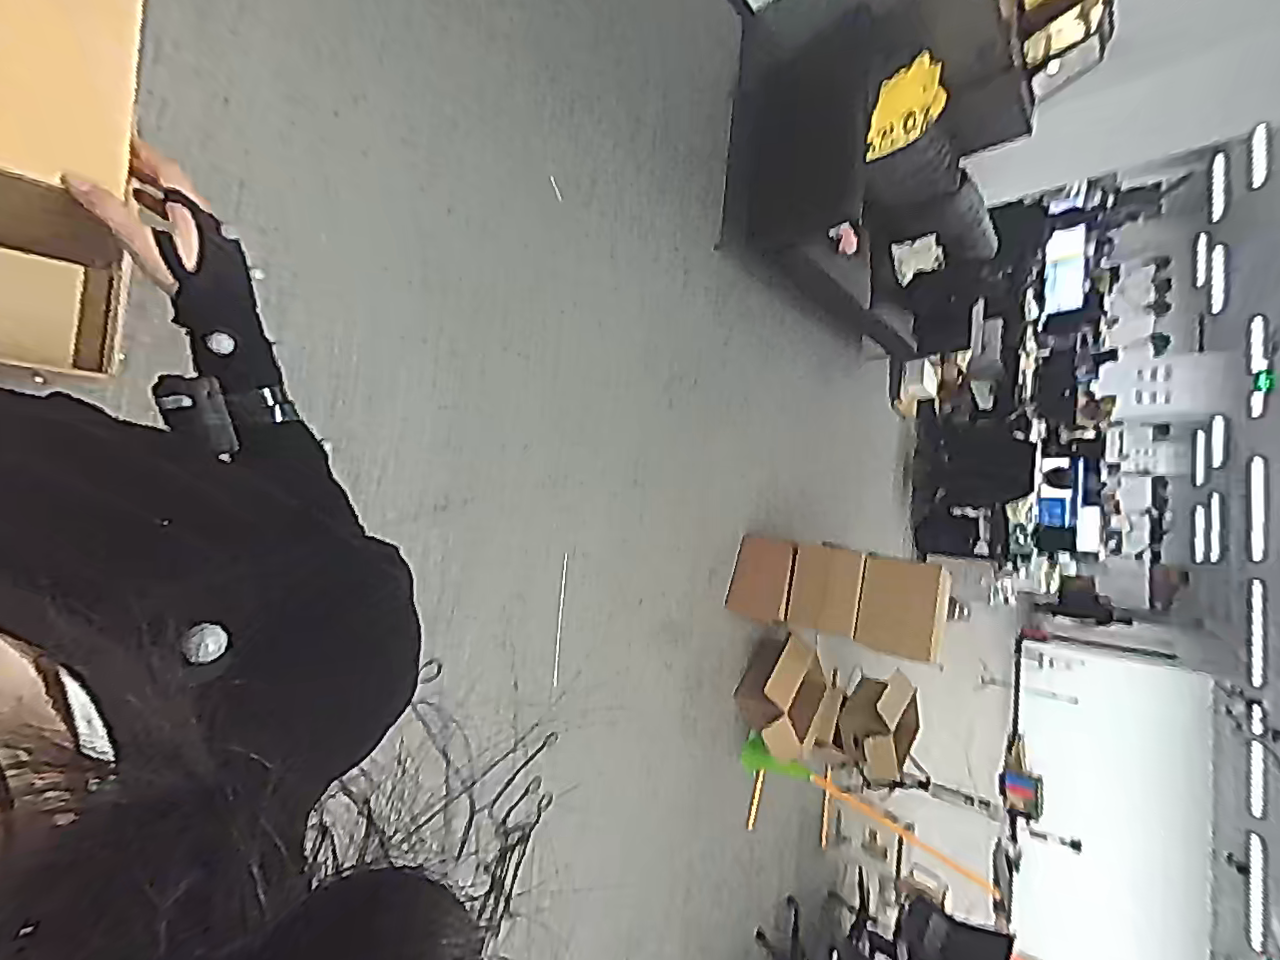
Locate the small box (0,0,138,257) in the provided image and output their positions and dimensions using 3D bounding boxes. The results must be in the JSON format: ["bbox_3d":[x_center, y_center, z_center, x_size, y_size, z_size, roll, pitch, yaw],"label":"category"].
[{"bbox_3d":[-0.485,-0.282,0.388,0.179,0.176,0.168,3,86,-43],"label":"small box"}]
